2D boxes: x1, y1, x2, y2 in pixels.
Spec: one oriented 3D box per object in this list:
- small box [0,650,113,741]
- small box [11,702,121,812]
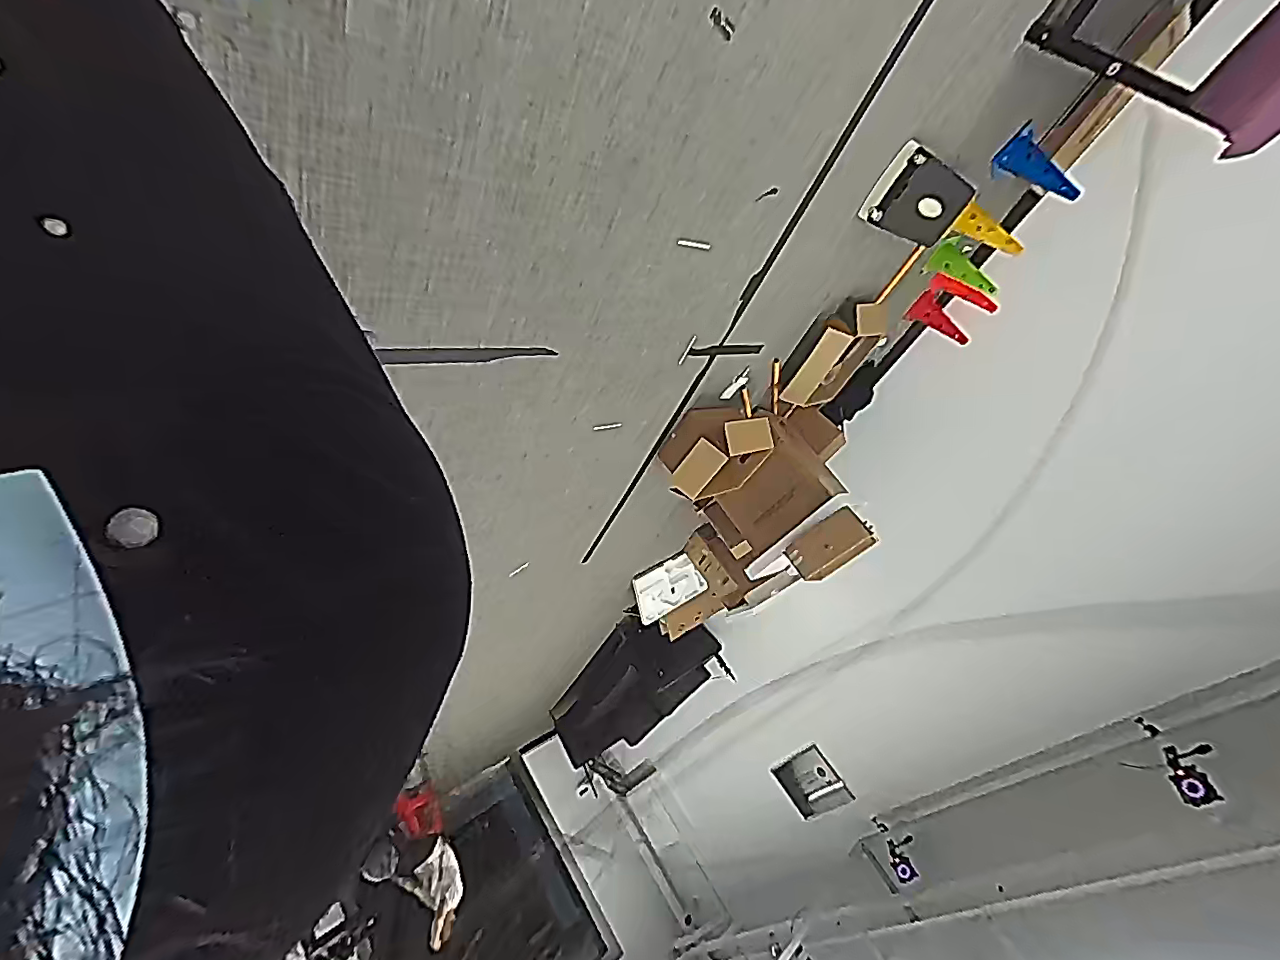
[{"bbox_3d":[-1.567,0.584,1.446,0.168,0.176,0.179,-23,153,-33],"label":"small box"},{"bbox_3d":[-1.472,0.706,1.393,0.168,0.176,0.179,-15,148,-44],"label":"small box"}]
